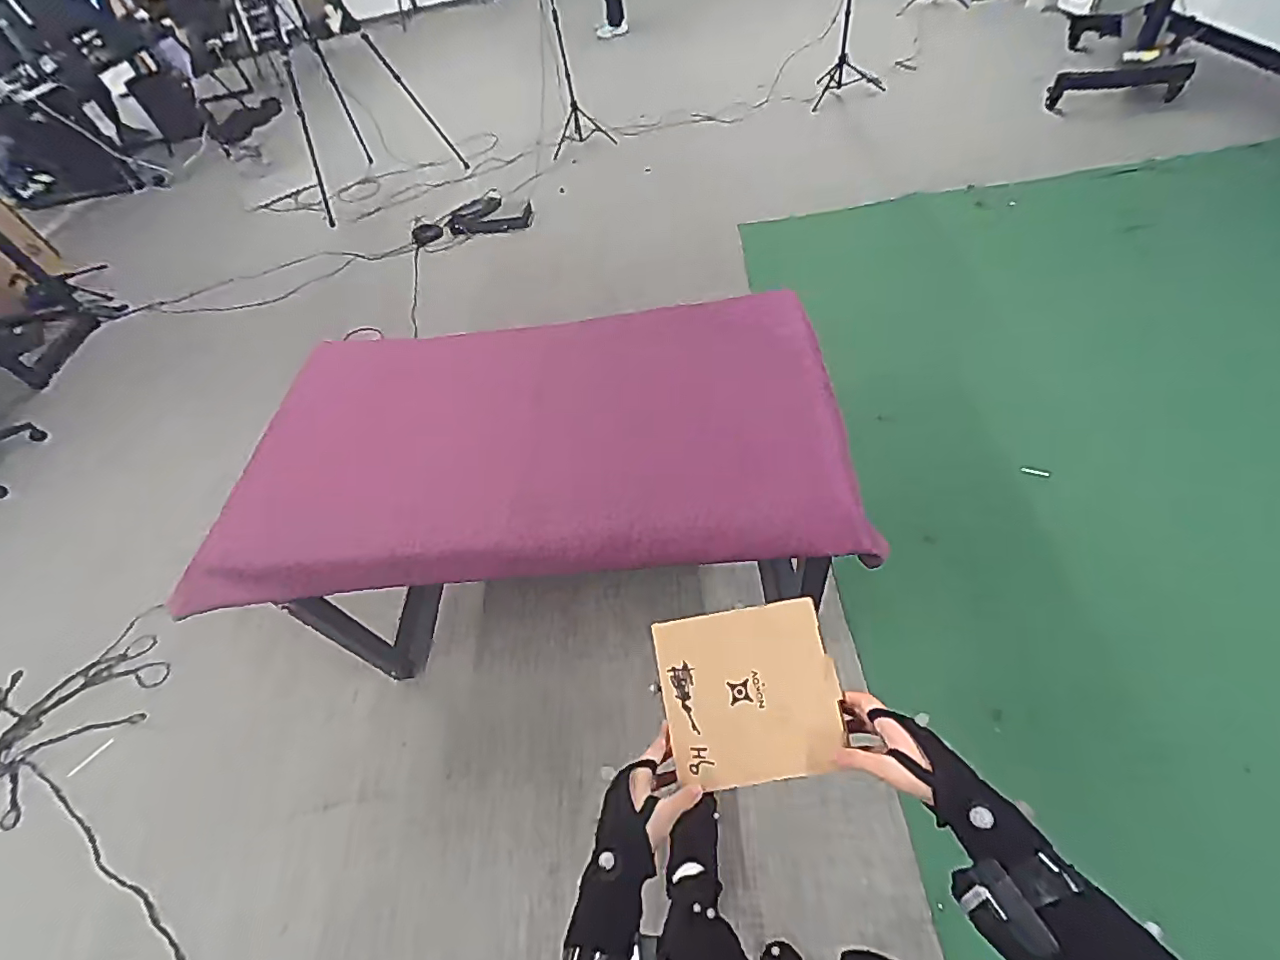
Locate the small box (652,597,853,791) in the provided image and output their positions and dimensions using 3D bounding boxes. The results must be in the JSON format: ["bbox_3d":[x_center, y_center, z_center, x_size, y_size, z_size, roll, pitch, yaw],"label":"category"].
[{"bbox_3d":[0.114,0.238,0.618,0.179,0.176,0.168,-10,69,2],"label":"small box"}]
